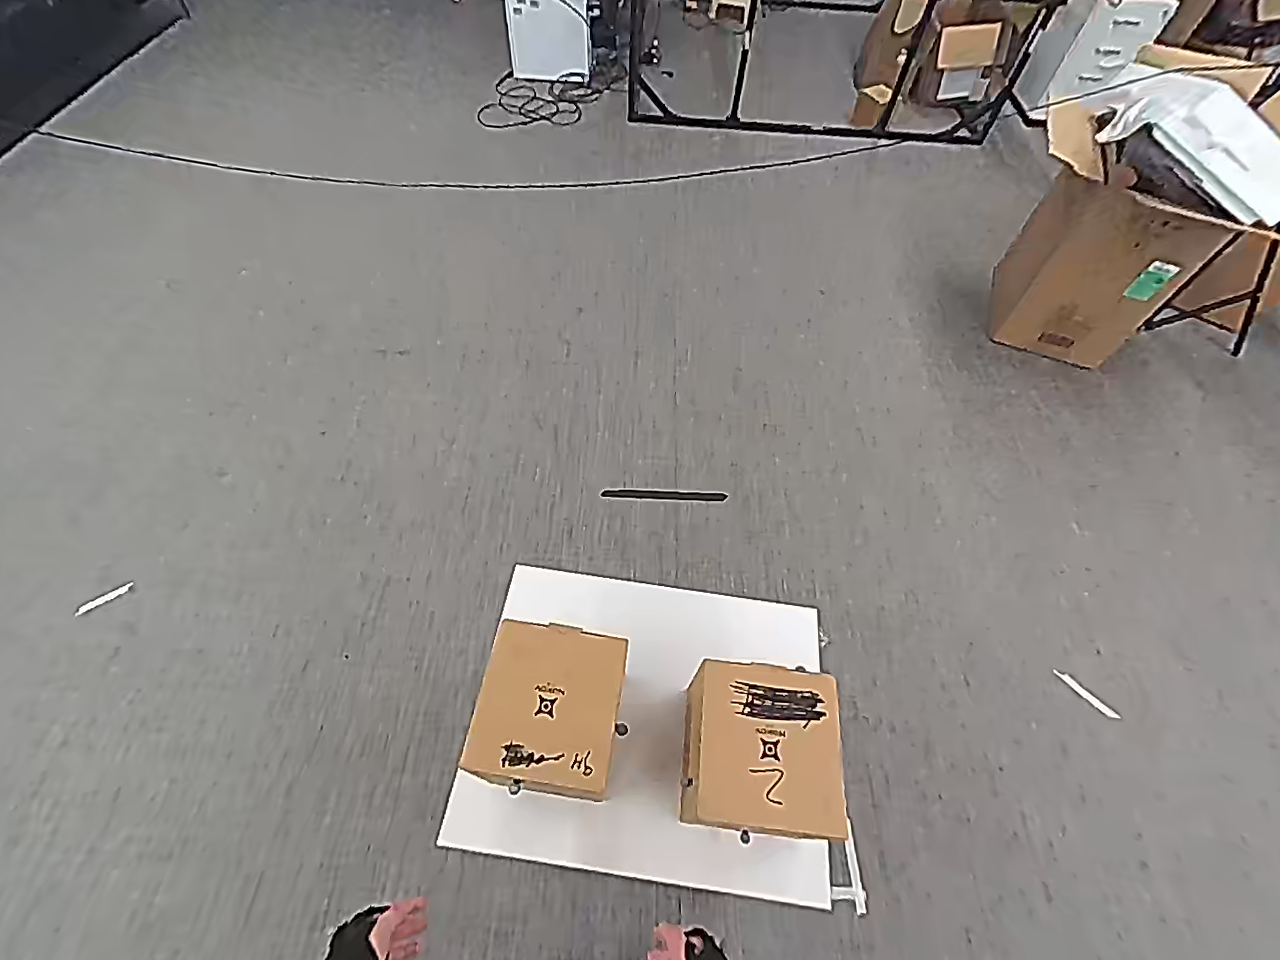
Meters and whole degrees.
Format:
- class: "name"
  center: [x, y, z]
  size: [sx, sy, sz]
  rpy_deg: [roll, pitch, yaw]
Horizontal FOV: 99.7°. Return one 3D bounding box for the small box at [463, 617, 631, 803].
- class: "small box"
  center: [-0.109, 0.303, 0.706]
  size: [0.168, 0.176, 0.179]
  rpy_deg: [9, 56, 3]
